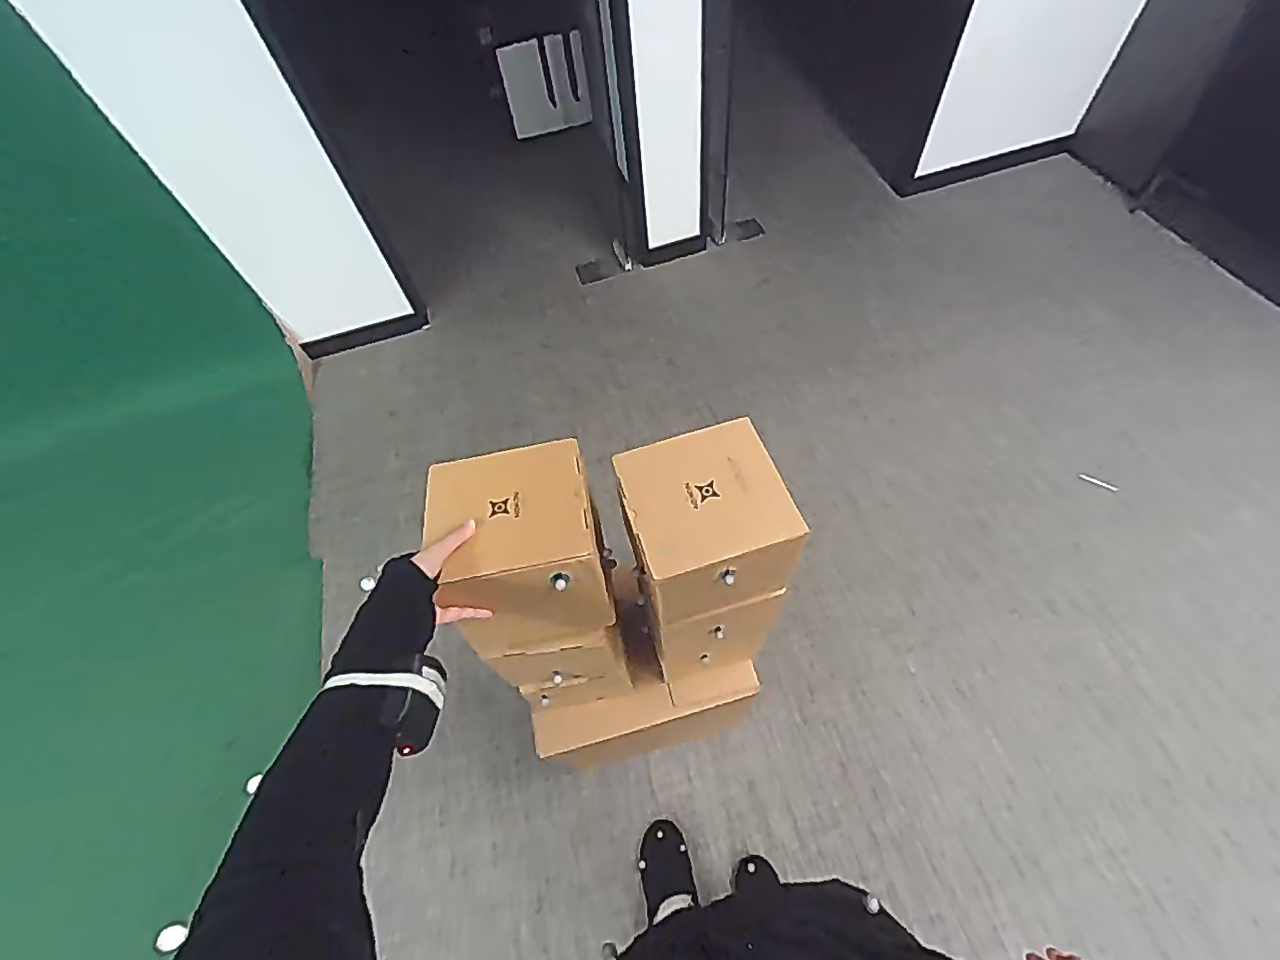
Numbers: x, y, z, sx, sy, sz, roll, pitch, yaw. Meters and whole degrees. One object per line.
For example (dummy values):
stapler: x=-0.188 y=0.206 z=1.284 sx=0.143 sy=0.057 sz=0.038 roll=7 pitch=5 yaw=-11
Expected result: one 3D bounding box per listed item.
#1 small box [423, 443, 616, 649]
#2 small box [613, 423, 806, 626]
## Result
small box: x=-0.136 y=0.084 z=0.649 sx=0.179 sy=0.176 sz=0.168 roll=-12 pitch=51 yaw=-2
small box: x=0.079 y=0.062 z=0.667 sx=0.179 sy=0.176 sz=0.168 roll=-16 pitch=59 yaw=-5
